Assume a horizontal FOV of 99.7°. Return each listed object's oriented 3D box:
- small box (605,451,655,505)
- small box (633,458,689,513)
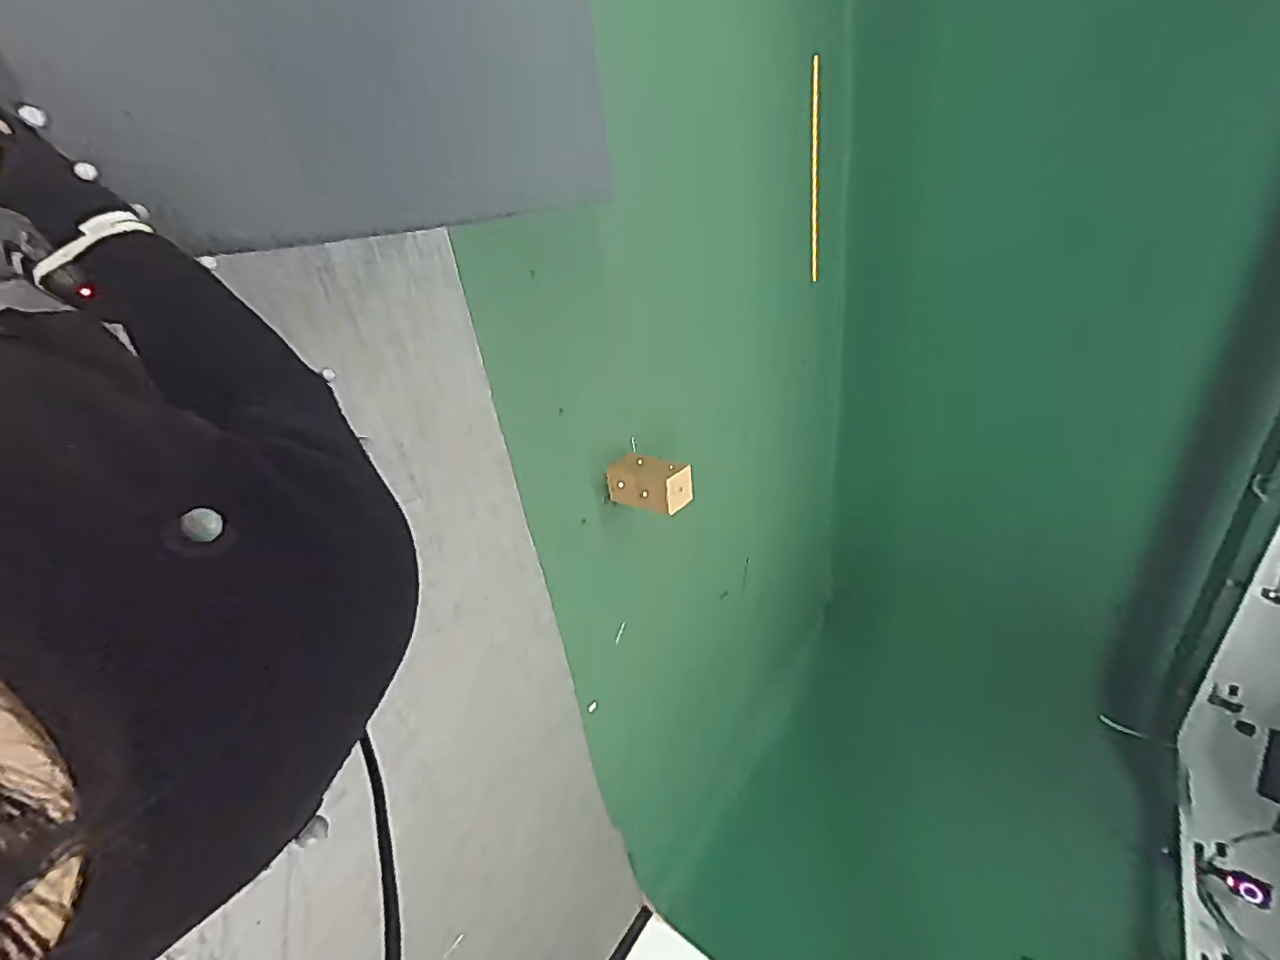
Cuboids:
[{"bbox_3d":[-0.039,-0.013,2.379,0.179,0.176,0.168,-35,127,-42],"label":"small box"},{"bbox_3d":[0.089,0.017,2.279,0.179,0.176,0.168,-32,125,-43],"label":"small box"}]
